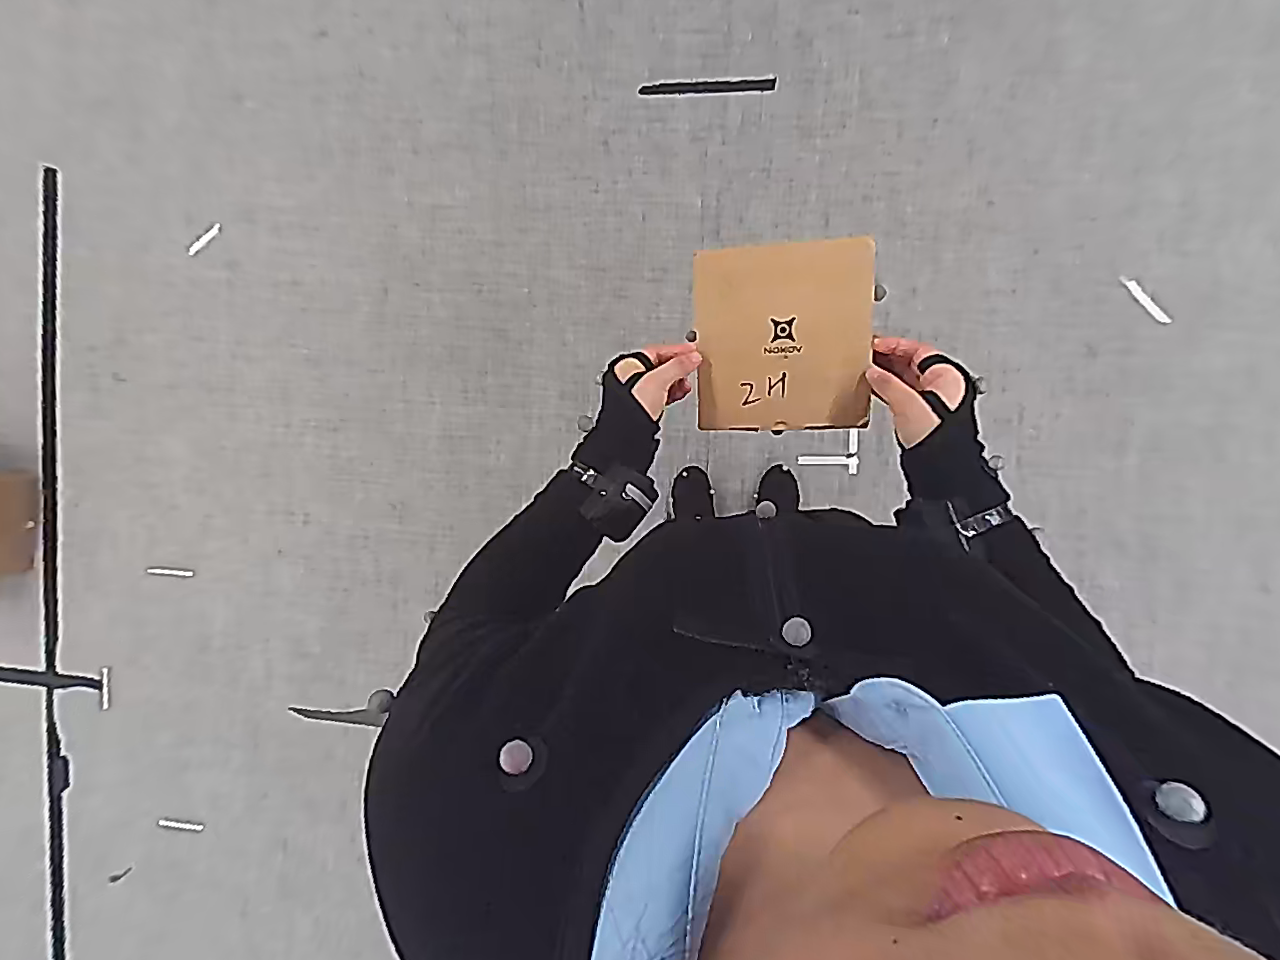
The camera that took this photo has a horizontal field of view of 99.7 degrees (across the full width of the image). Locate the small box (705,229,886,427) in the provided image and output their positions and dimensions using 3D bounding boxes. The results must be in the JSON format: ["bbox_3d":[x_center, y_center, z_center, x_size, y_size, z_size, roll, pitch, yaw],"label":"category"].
[{"bbox_3d":[0.159,-0.151,0.587,0.168,0.176,0.179,0,100,13],"label":"small box"}]
